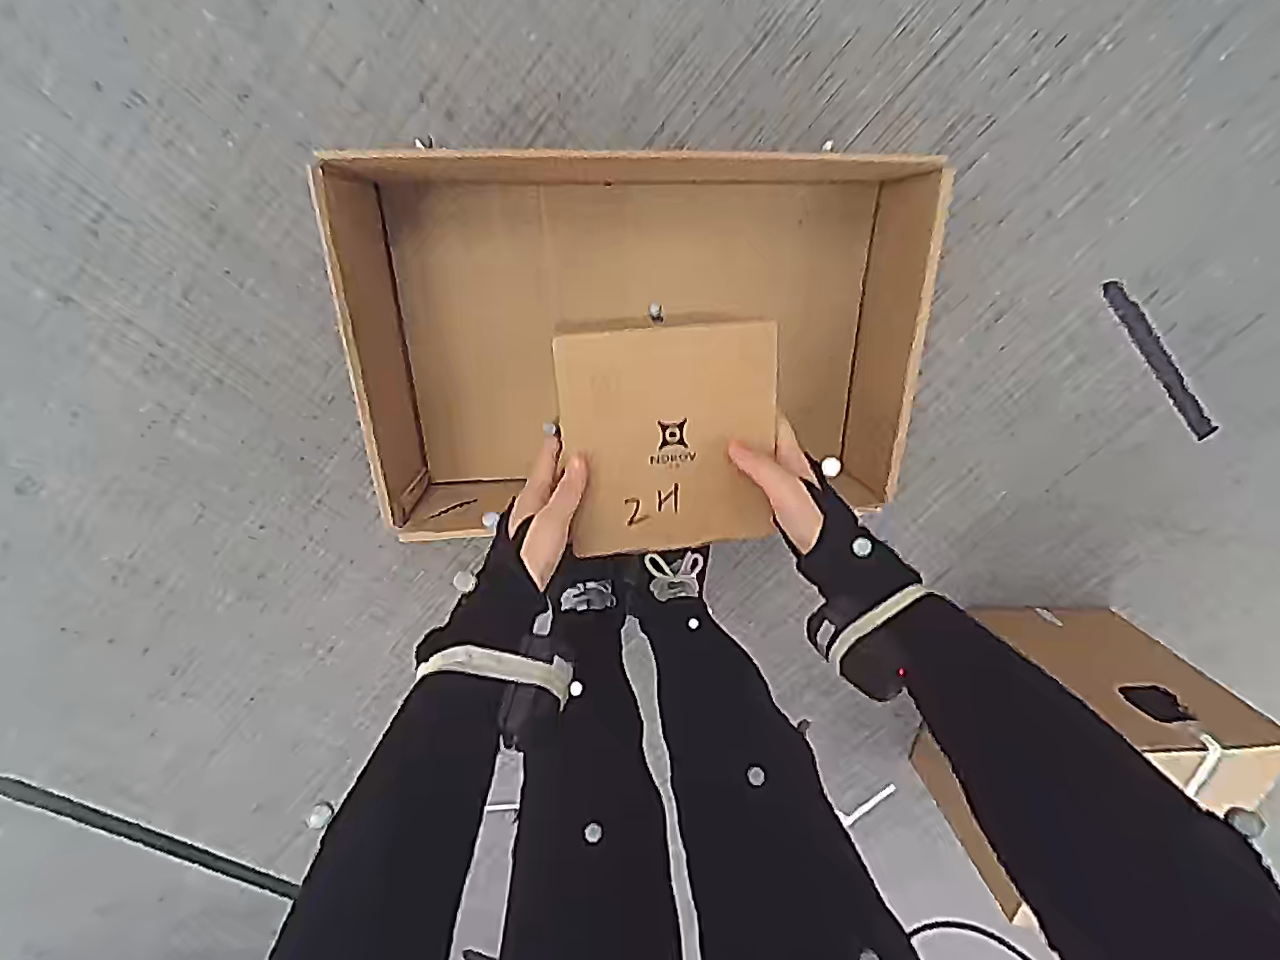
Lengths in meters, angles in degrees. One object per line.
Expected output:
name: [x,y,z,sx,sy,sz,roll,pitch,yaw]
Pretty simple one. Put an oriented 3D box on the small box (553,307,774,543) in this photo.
small box: [0.011,-0.063,0.492,0.168,0.176,0.179,-6,111,-7]
